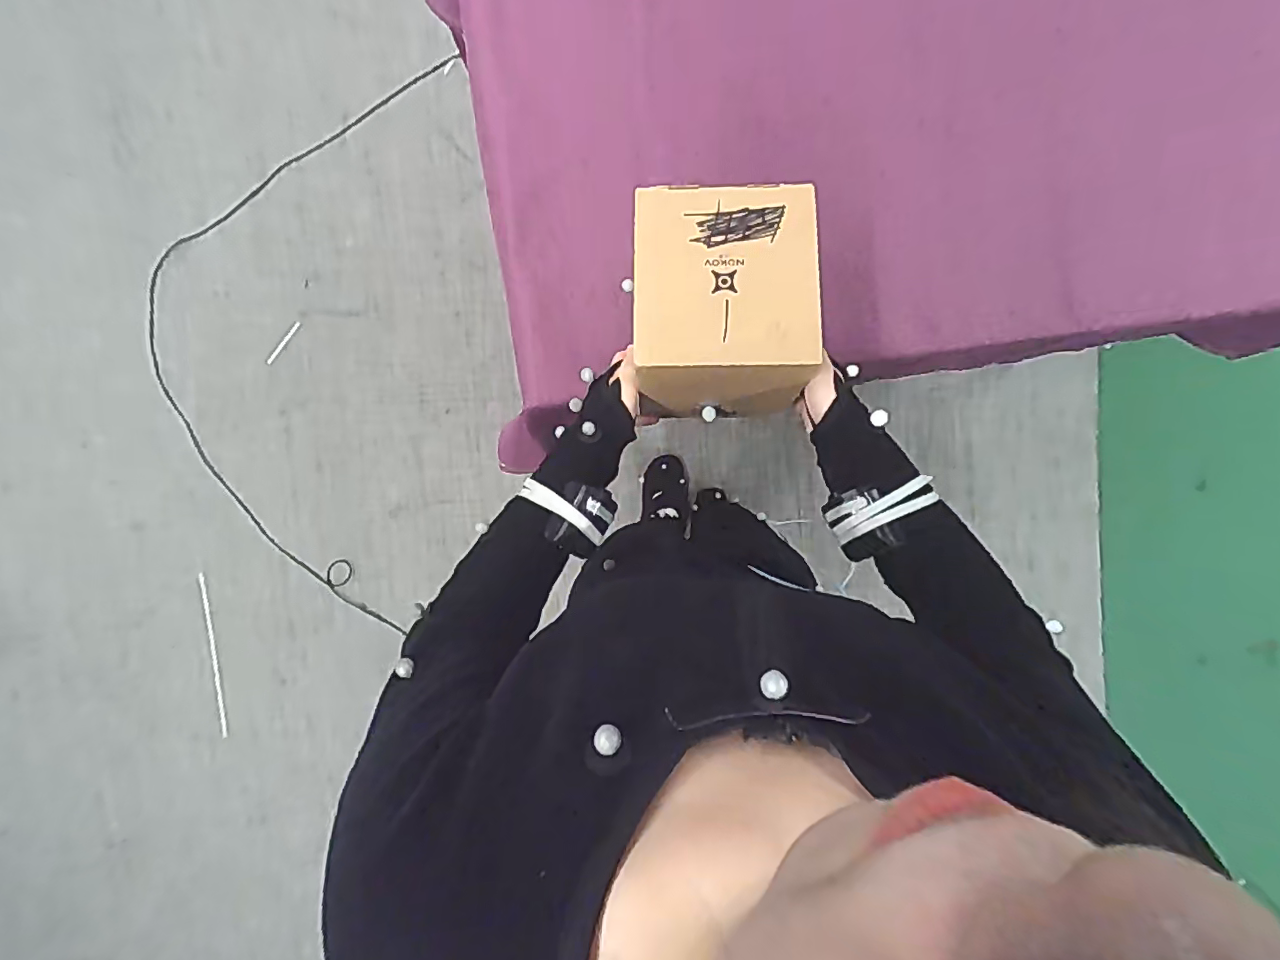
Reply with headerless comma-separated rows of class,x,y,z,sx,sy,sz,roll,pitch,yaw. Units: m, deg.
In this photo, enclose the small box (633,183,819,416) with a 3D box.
small box,0.080,-0.175,0.564,0.168,0.176,0.179,1,83,2
